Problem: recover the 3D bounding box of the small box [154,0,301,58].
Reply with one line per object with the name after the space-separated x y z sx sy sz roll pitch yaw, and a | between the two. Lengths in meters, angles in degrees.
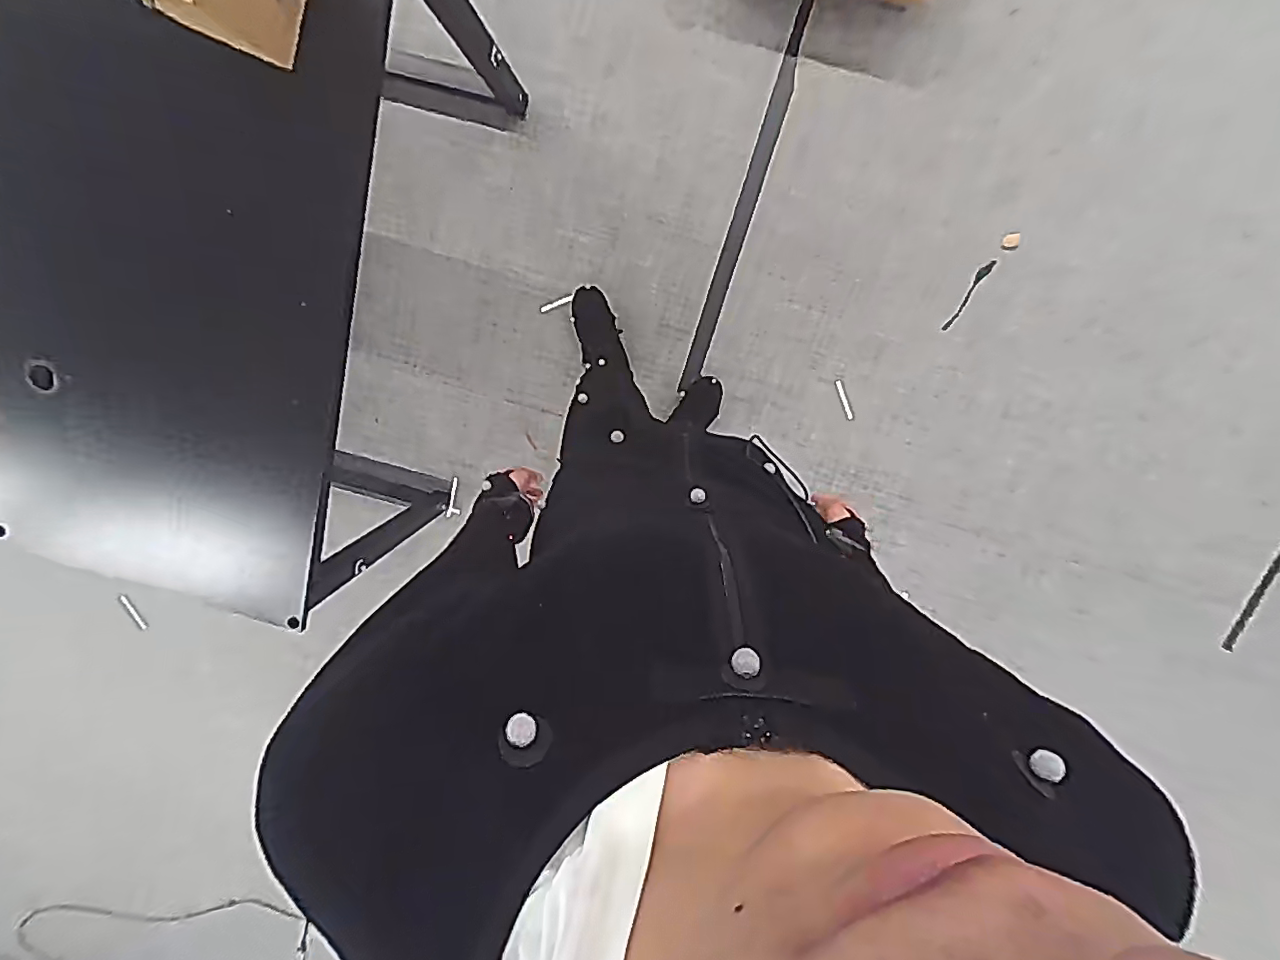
-0.561 -0.681 0.677 0.179 0.176 0.168 23 106 -2 | small box
